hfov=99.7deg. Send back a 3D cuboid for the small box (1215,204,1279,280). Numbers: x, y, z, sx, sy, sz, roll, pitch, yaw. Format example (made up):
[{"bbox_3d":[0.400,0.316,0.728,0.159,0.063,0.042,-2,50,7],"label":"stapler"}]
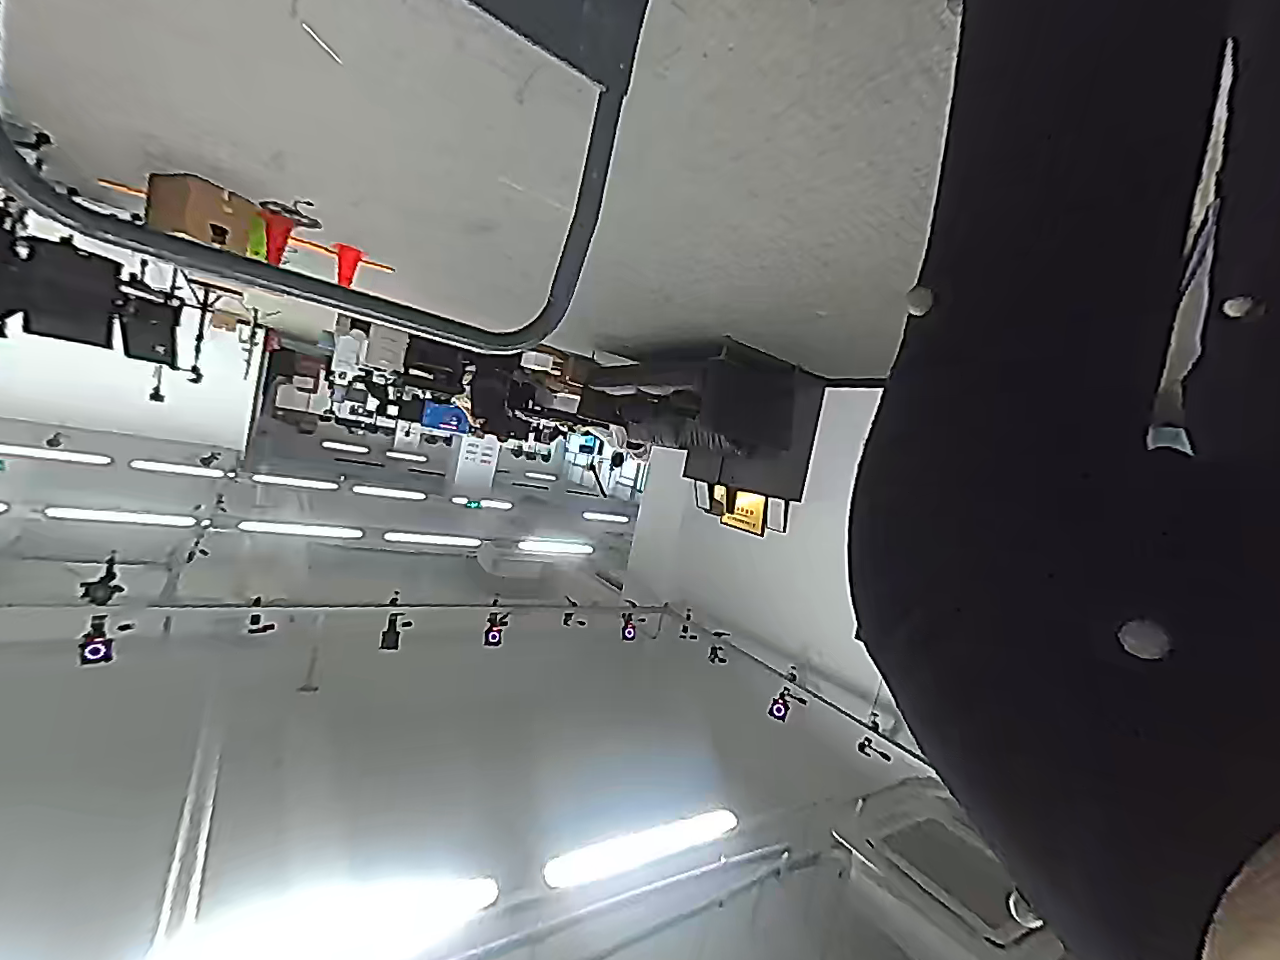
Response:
[{"bbox_3d":[1.663,-0.616,1.433,0.179,0.176,0.168,8,-175,-41],"label":"small box"}]

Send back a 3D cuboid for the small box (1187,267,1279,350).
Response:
[{"bbox_3d":[1.647,-0.462,1.451,0.179,0.176,0.168,13,-179,17],"label":"small box"}]
